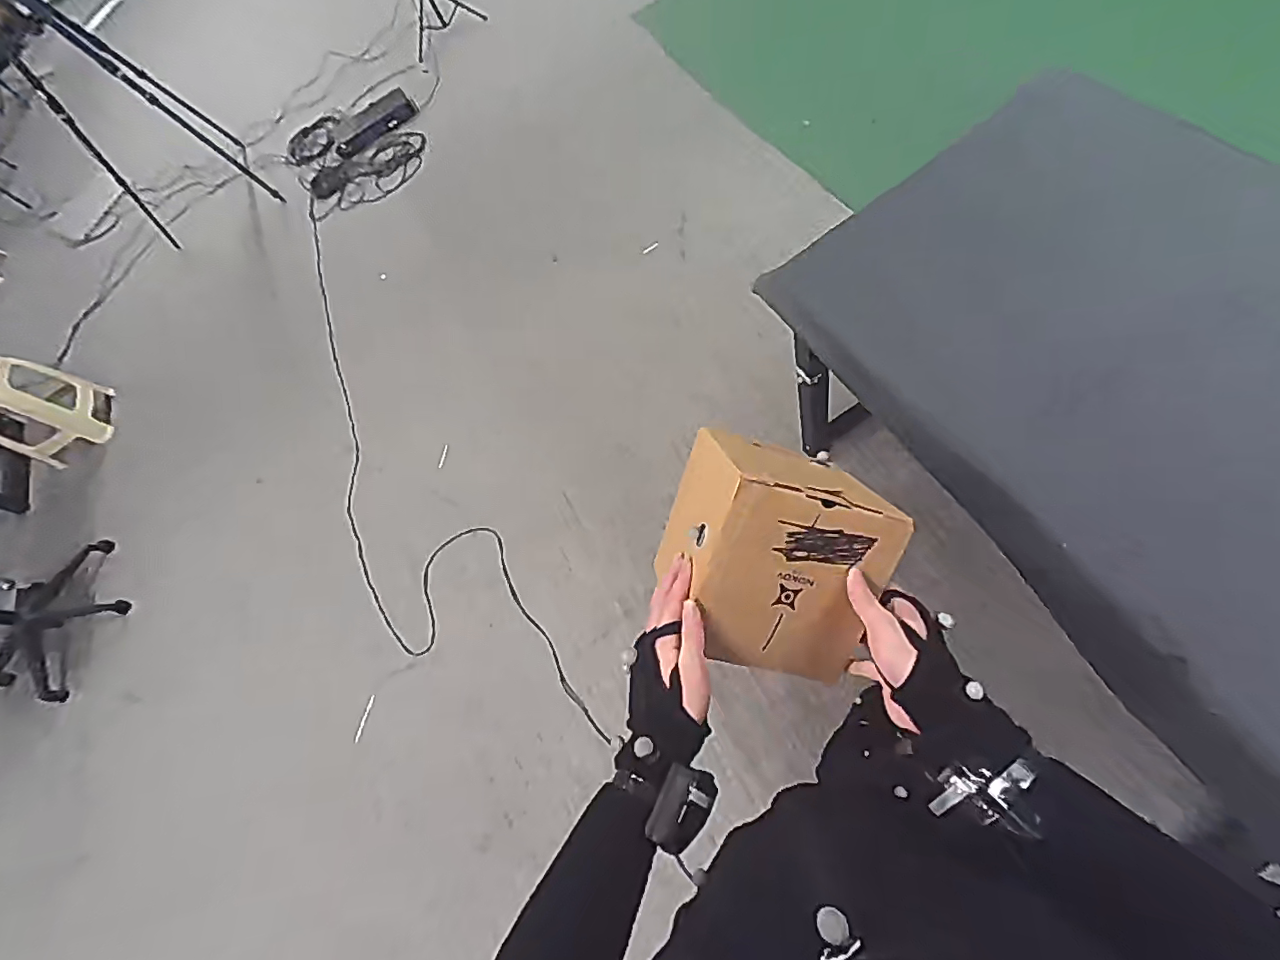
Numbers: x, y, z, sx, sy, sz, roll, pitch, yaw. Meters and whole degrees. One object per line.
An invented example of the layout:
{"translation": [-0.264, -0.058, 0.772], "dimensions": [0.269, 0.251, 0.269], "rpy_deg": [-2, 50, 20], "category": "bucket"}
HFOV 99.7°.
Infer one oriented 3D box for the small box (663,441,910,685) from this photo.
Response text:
{"translation": [0.130, 0.074, 0.559], "dimensions": [0.168, 0.176, 0.179], "rpy_deg": [15, 108, -10], "category": "small box"}
